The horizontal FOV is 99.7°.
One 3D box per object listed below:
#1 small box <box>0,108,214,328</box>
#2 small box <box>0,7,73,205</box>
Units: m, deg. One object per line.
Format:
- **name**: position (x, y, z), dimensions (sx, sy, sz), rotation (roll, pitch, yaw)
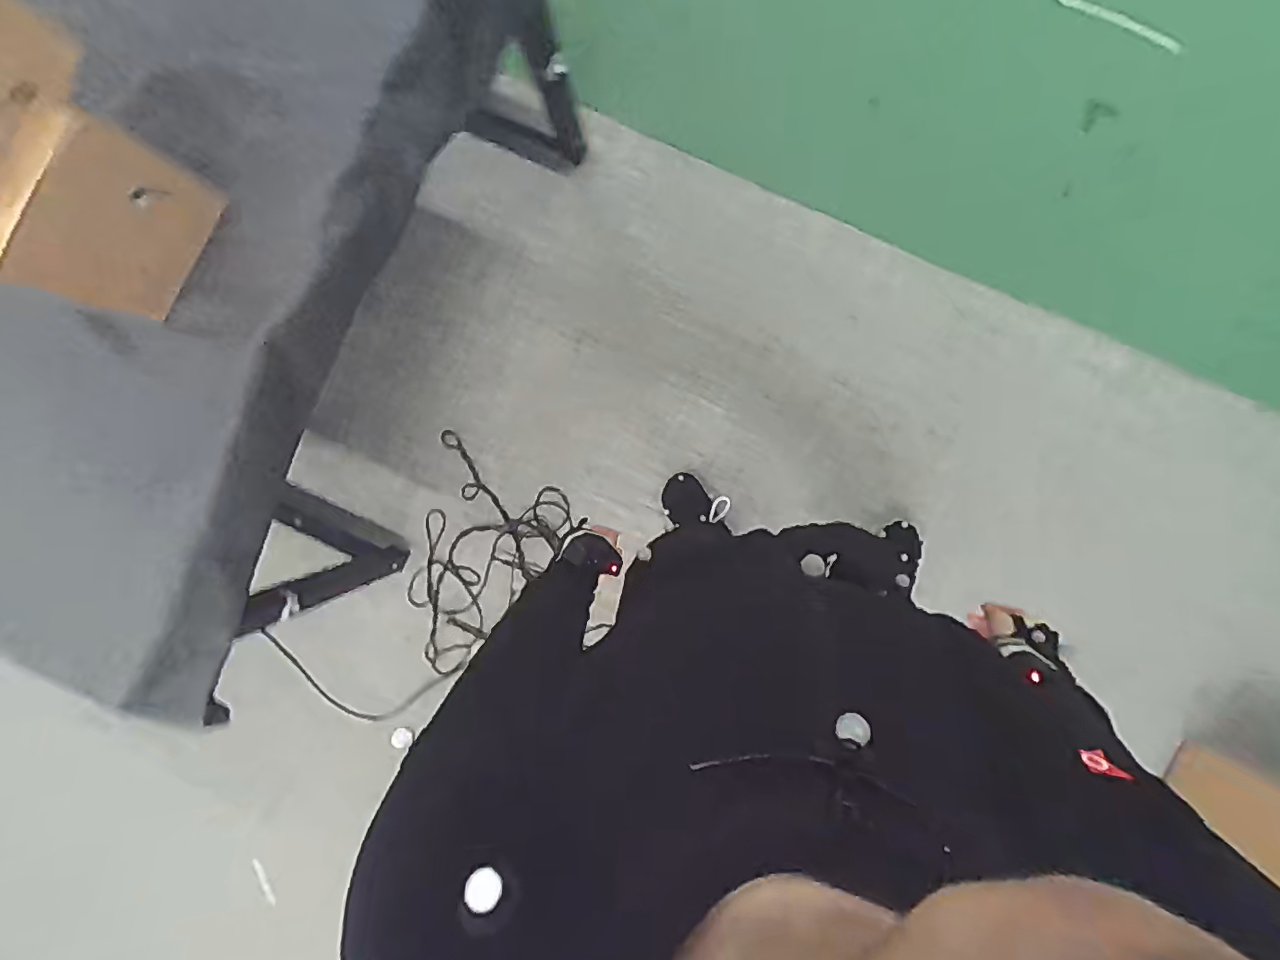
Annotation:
- **small box**: position (-0.614, -0.293, 0.578), dimensions (0.168, 0.176, 0.179), rotation (32, 94, 4)
- **small box**: position (-0.624, -0.348, 0.415), dimensions (0.179, 0.176, 0.168), rotation (30, 93, 3)
